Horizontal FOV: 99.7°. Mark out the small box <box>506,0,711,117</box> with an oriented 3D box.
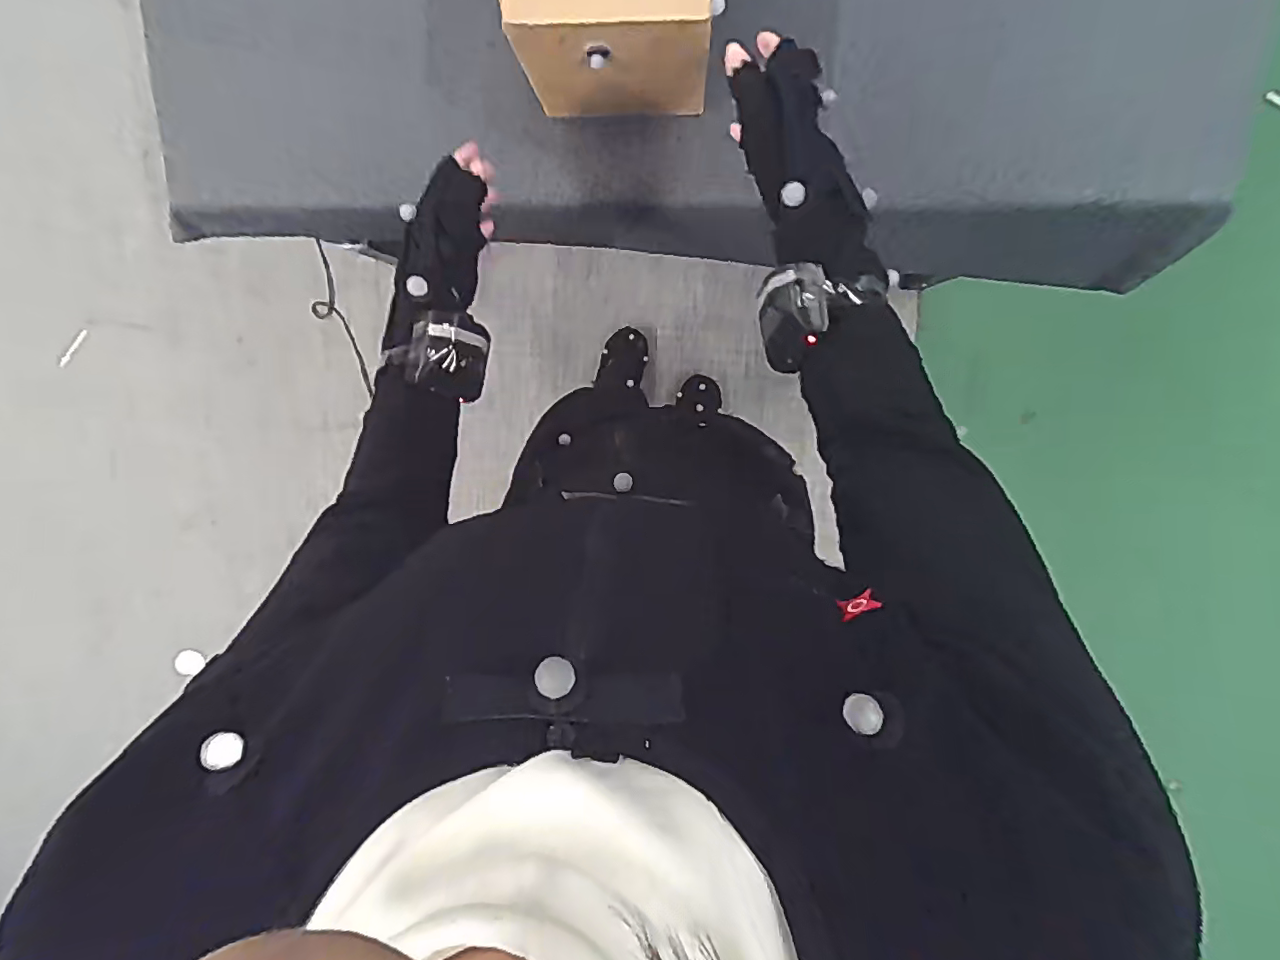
[{"bbox_3d":[-0.019,-0.475,0.518,0.179,0.176,0.168,1,101,4],"label":"small box"}]
